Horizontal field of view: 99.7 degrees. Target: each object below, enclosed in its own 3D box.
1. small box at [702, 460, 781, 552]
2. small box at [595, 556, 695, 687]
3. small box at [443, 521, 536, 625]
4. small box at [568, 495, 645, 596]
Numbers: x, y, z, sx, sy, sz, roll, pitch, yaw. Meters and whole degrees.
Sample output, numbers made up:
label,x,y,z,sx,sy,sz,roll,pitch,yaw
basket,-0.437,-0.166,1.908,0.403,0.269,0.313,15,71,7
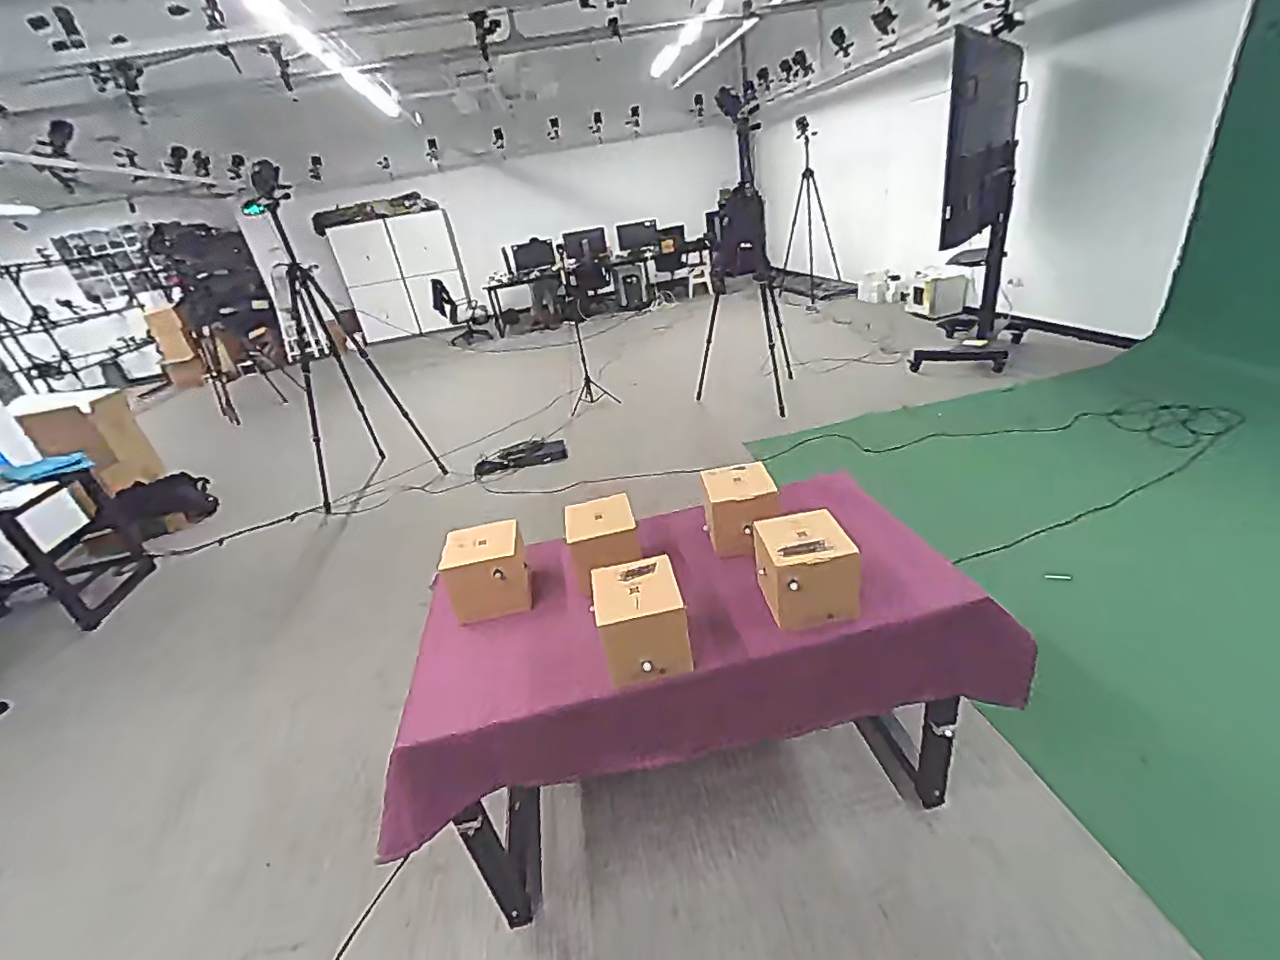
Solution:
label,x,y,z,sx,sy,sz,roll,pitch,yaw
small box,0.261,0.073,1.395,0.168,0.176,0.179,-10,28,2
small box,0.008,0.282,1.091,0.168,0.176,0.179,-13,27,-2
small box,-0.361,0.229,1.331,0.179,0.176,0.168,-13,27,-3
small box,-0.082,0.163,1.358,0.168,0.176,0.179,-13,28,-3
